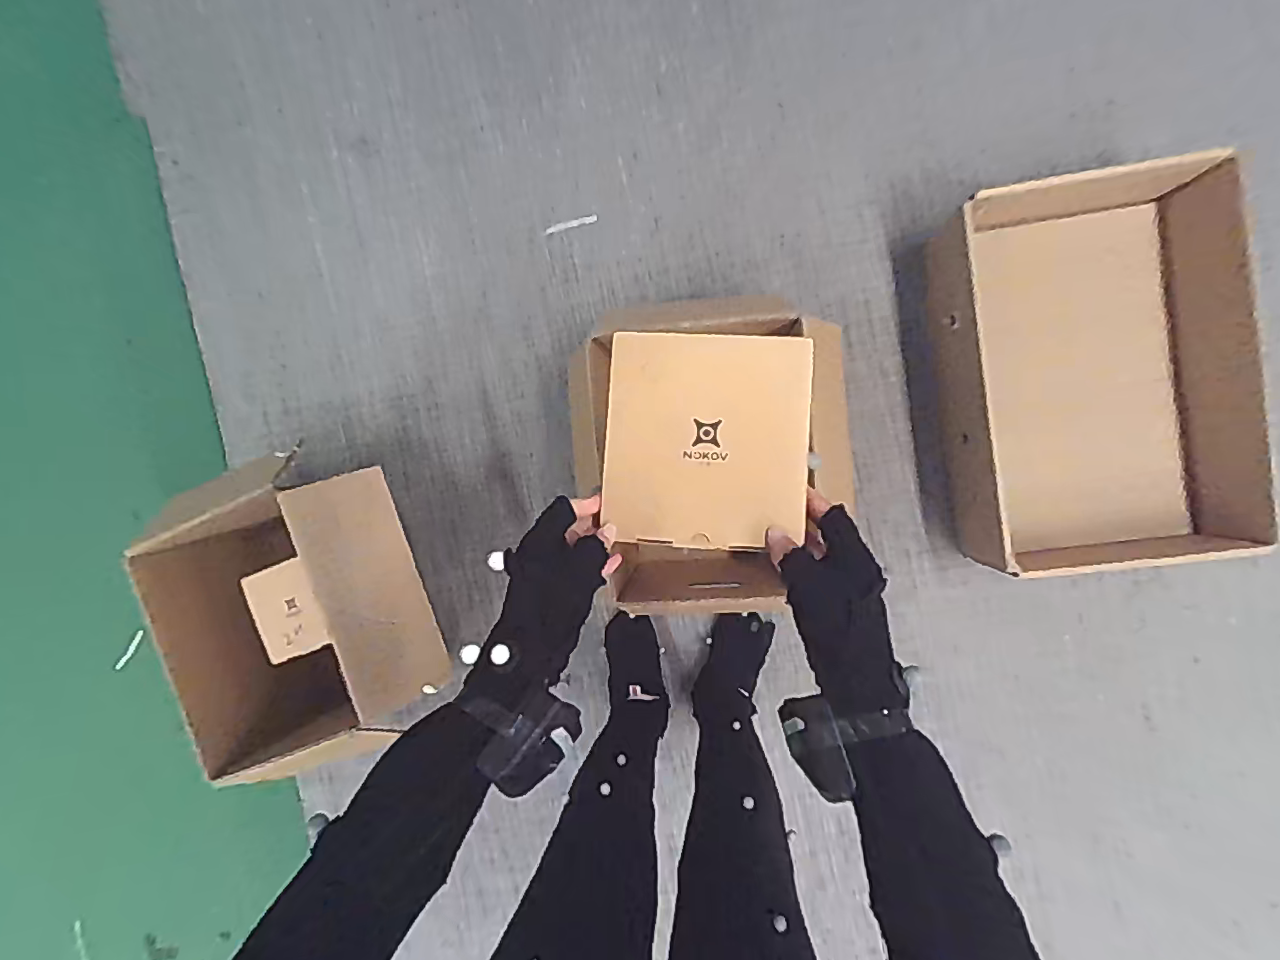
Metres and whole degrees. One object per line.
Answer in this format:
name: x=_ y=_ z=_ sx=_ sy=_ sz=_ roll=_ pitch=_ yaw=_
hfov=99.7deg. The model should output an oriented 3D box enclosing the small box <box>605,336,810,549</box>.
small box: x=0.064 y=-0.028 z=0.531 sx=0.168 sy=0.176 sz=0.179 roll=2 pitch=86 yaw=6
